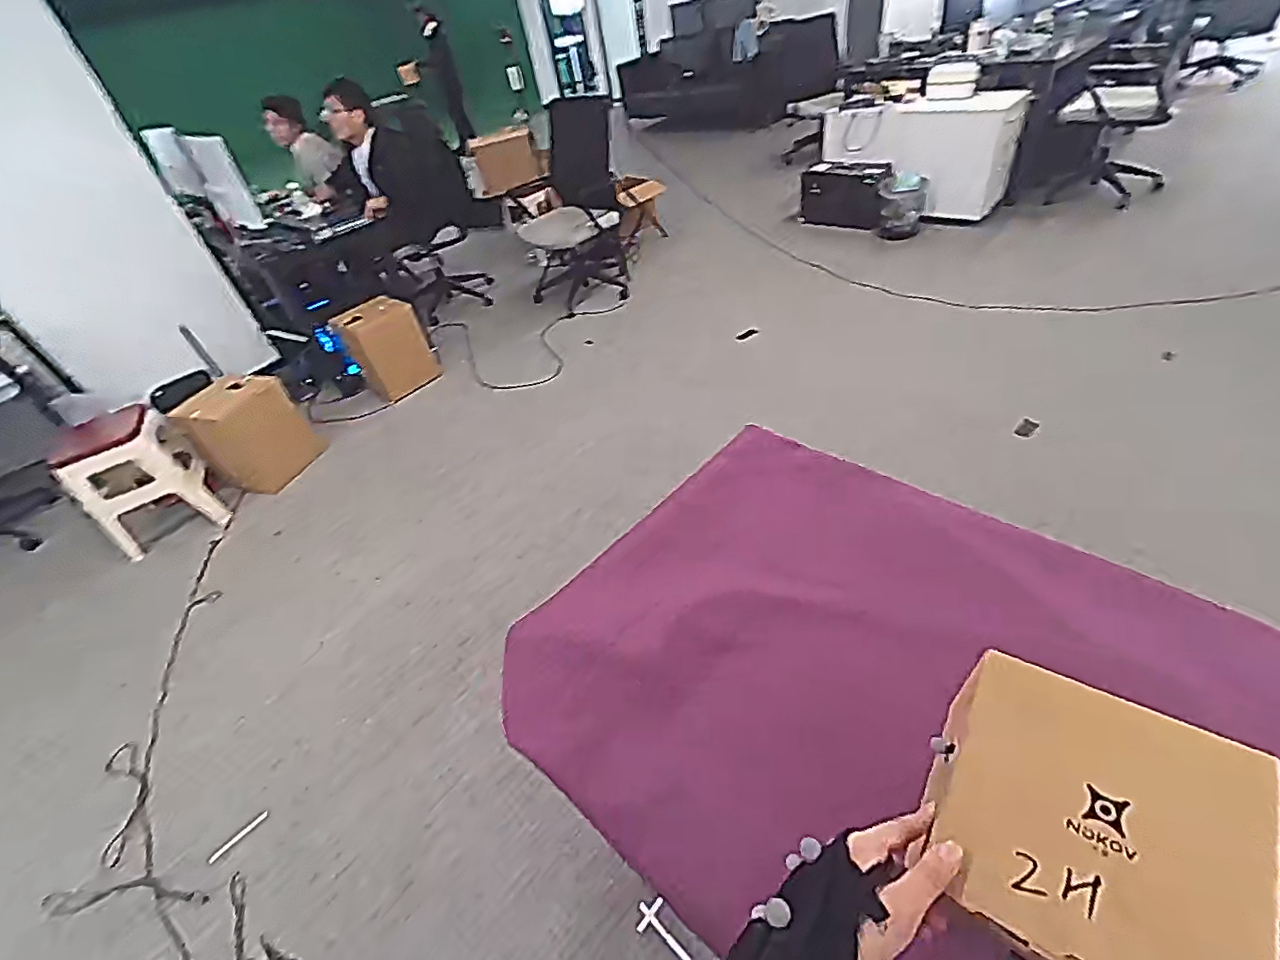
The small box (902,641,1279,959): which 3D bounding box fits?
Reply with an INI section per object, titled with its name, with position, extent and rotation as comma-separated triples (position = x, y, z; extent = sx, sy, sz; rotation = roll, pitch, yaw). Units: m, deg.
[small box]
position = 0.308, 0.257, 0.400
extent = 0.168, 0.176, 0.179
rotation = 19, 62, 30
